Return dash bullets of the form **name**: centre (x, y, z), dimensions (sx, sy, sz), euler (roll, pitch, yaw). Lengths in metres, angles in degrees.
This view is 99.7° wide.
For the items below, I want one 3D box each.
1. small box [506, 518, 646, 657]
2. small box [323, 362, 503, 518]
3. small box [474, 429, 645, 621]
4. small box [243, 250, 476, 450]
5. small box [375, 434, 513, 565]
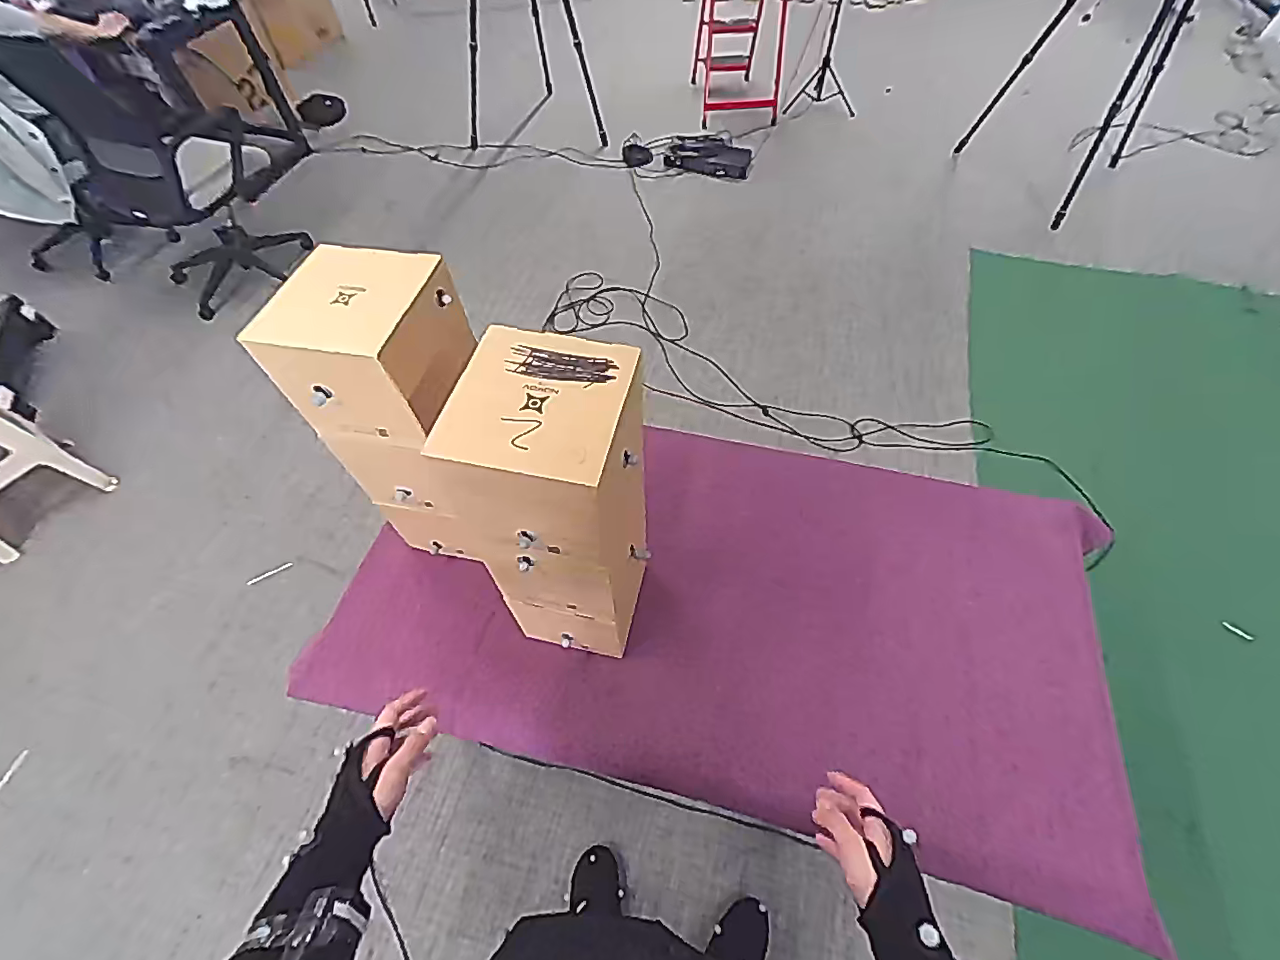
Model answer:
- **small box**: centre (-0.089, 0.156, 0.851), dimensions (0.168, 0.176, 0.179), euler (10, 58, 9)
- **small box**: centre (-0.321, -0.068, 0.811), dimensions (0.168, 0.176, 0.179), euler (9, 58, 8)
- **small box**: centre (-0.092, 0.062, 0.716), dimensions (0.168, 0.176, 0.179), euler (10, 56, 9)
- **small box**: centre (-0.326, -0.158, 0.676), dimensions (0.168, 0.176, 0.179), euler (8, 56, 8)
- **small box**: centre (-0.318, 0.024, 0.946), dimensions (0.168, 0.176, 0.179), euler (9, 58, 8)
